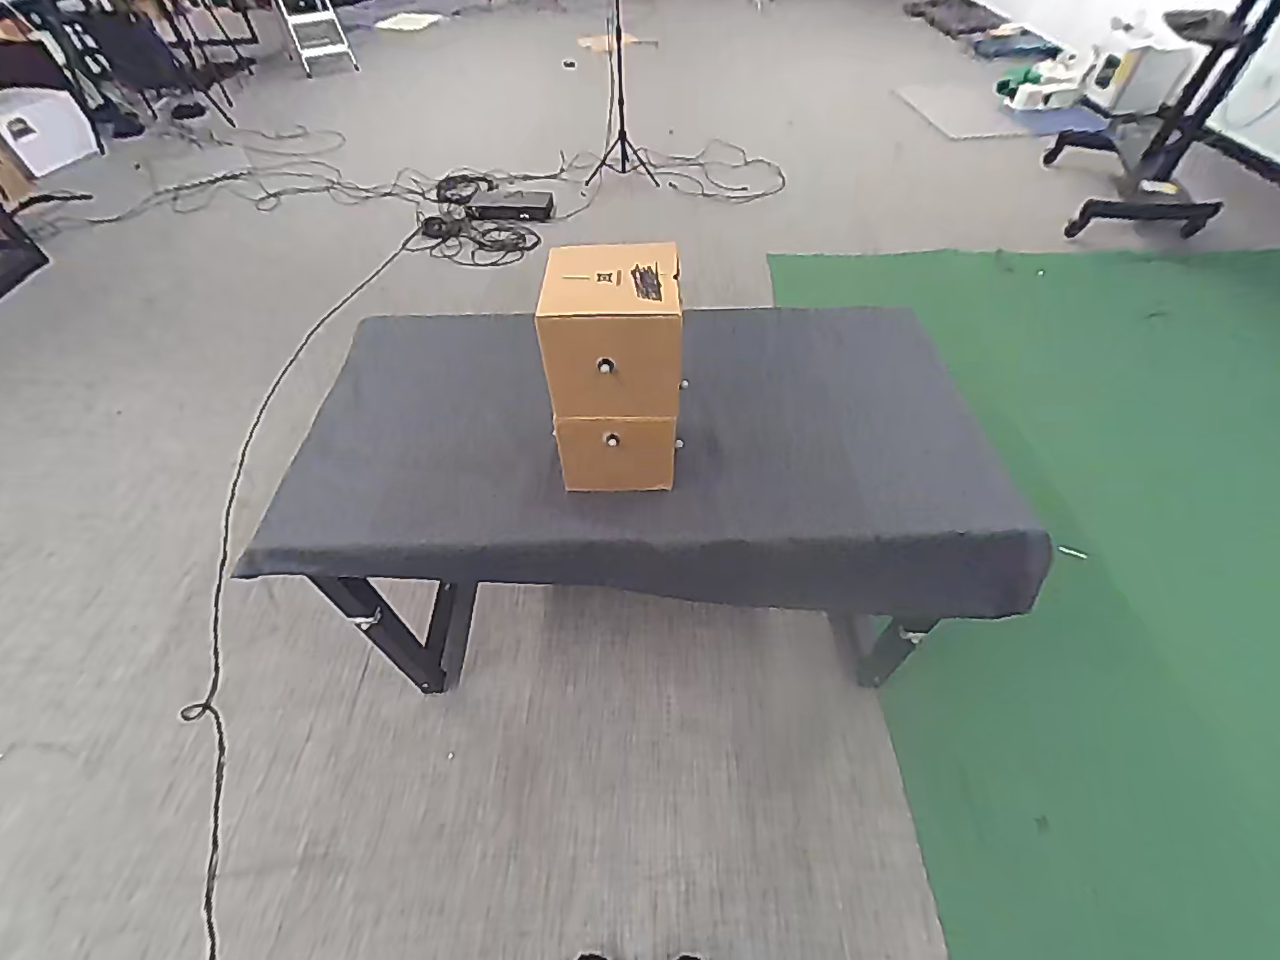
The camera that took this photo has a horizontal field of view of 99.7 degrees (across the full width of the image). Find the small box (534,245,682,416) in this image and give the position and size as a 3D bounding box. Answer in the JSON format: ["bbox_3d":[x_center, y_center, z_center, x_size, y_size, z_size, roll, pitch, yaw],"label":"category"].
[{"bbox_3d":[-0.035,-0.202,0.747,0.179,0.176,0.168,0,52,2],"label":"small box"}]

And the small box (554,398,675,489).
[{"bbox_3d":[-0.035,-0.097,0.874,0.179,0.176,0.168,0,52,0],"label":"small box"}]
